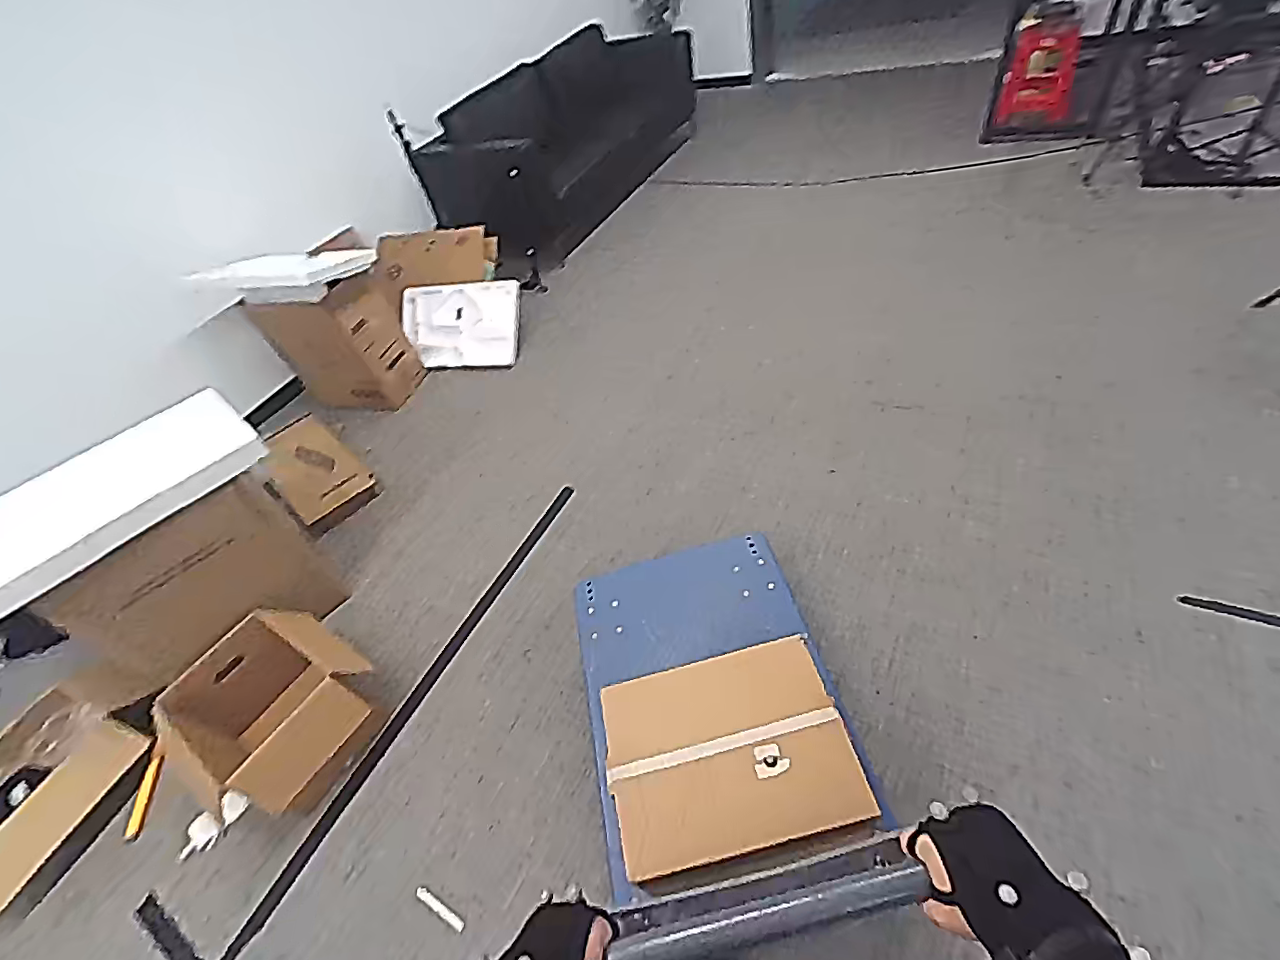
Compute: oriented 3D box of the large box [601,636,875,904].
[{"bbox_3d":[0.171,0.560,1.042,0.408,0.320,0.320,-15,47,-1],"label":"large box"}]
